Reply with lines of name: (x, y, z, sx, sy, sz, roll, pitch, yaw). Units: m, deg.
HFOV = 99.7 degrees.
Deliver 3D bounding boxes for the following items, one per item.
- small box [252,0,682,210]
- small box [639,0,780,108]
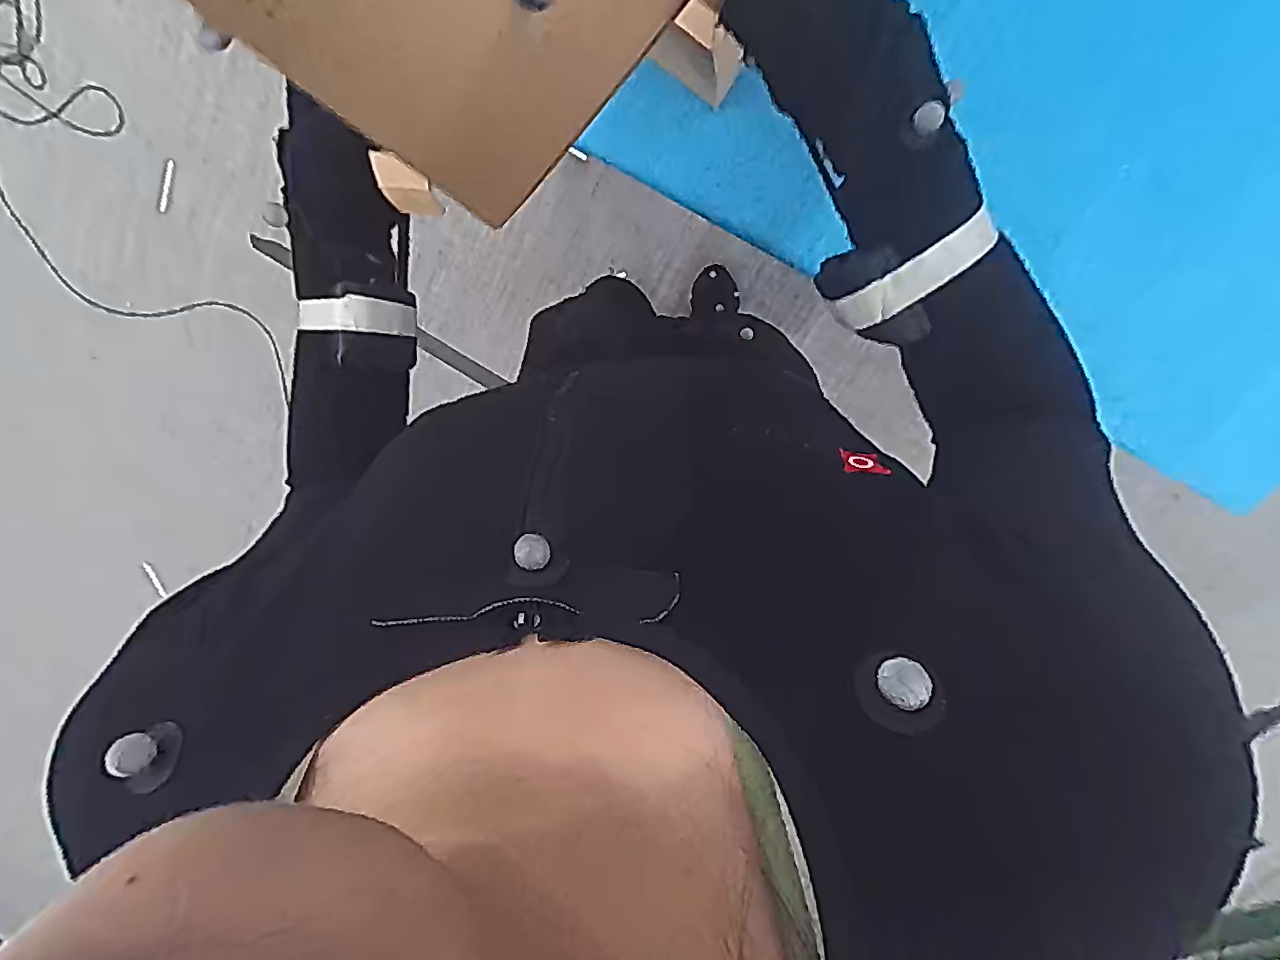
small box: (-0.098, -0.276, 0.242, 0.179, 0.176, 0.168, -43, 72, 16)
small box: (0.049, -0.483, 0.474, 0.168, 0.176, 0.179, 34, 112, -5)
